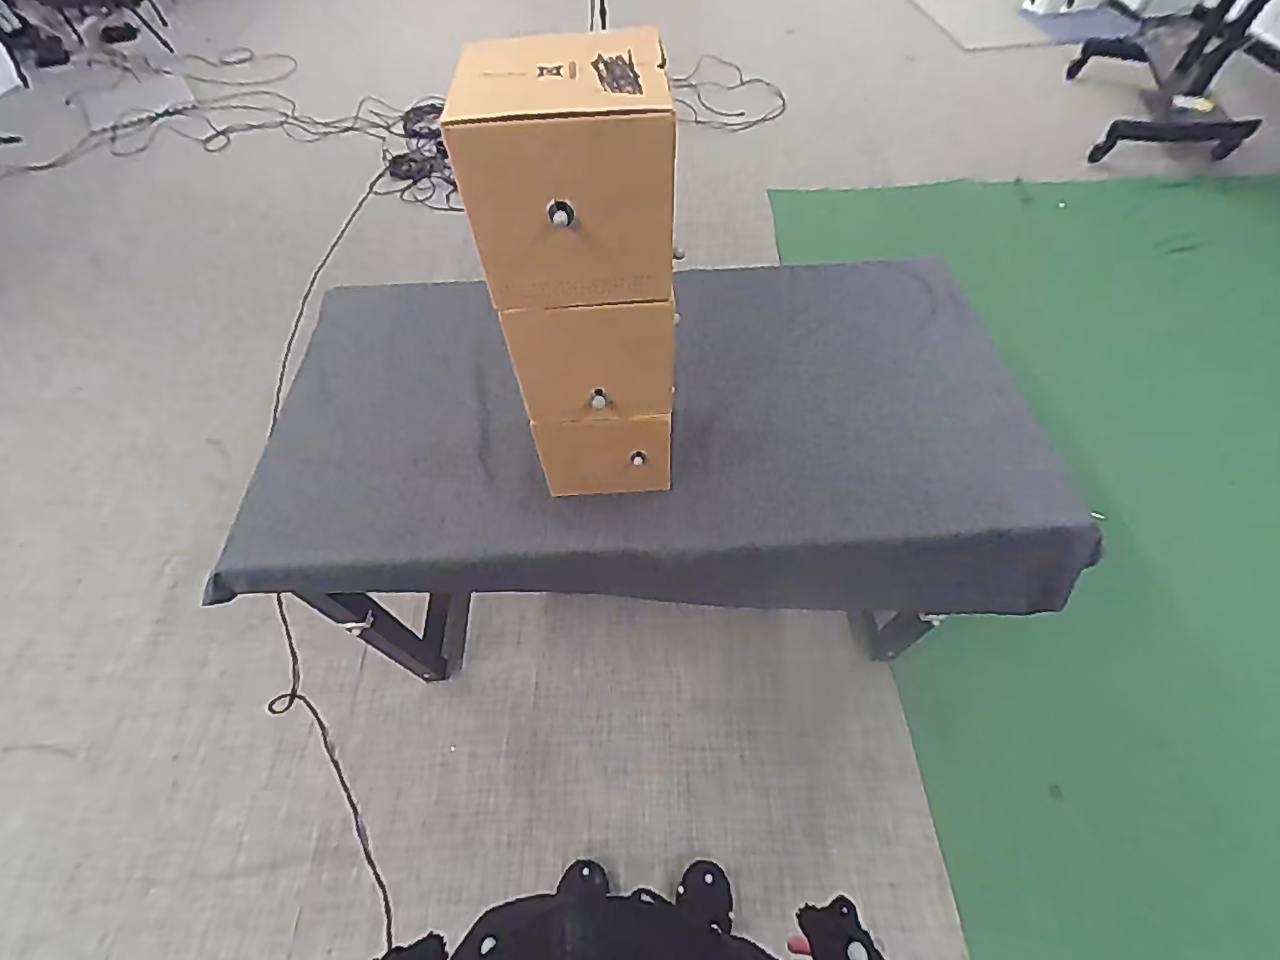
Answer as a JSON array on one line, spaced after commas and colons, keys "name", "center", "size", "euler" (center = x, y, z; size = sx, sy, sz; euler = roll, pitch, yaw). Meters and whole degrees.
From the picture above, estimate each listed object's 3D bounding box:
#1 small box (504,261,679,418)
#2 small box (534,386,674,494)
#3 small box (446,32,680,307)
[{"name": "small box", "center": [-0.052, -0.190, 0.645], "size": [0.179, 0.176, 0.168], "euler": [-4, 55, -1]}, {"name": "small box", "center": [-0.046, -0.094, 0.777], "size": [0.179, 0.176, 0.168], "euler": [-4, 55, 0]}, {"name": "small box", "center": [-0.059, -0.284, 0.510], "size": [0.179, 0.176, 0.168], "euler": [-4, 56, 0]}]
